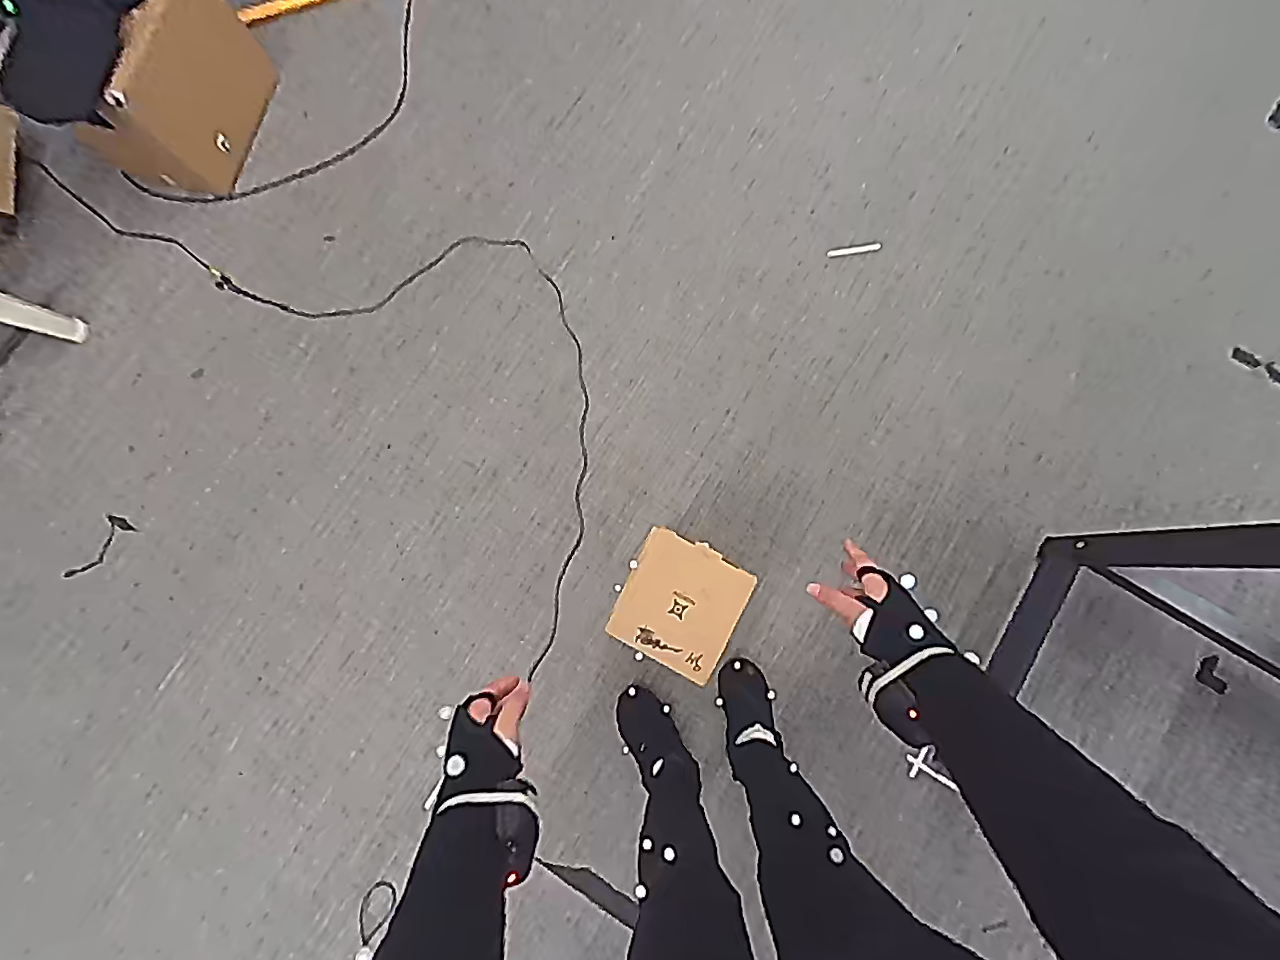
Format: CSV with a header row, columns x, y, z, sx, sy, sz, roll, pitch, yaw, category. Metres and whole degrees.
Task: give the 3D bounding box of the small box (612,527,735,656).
x,y,z,sx,sy,sz,roll,pitch,yaw,category
0.061,0.206,1.025,0.168,0.176,0.179,25,81,4,small box
